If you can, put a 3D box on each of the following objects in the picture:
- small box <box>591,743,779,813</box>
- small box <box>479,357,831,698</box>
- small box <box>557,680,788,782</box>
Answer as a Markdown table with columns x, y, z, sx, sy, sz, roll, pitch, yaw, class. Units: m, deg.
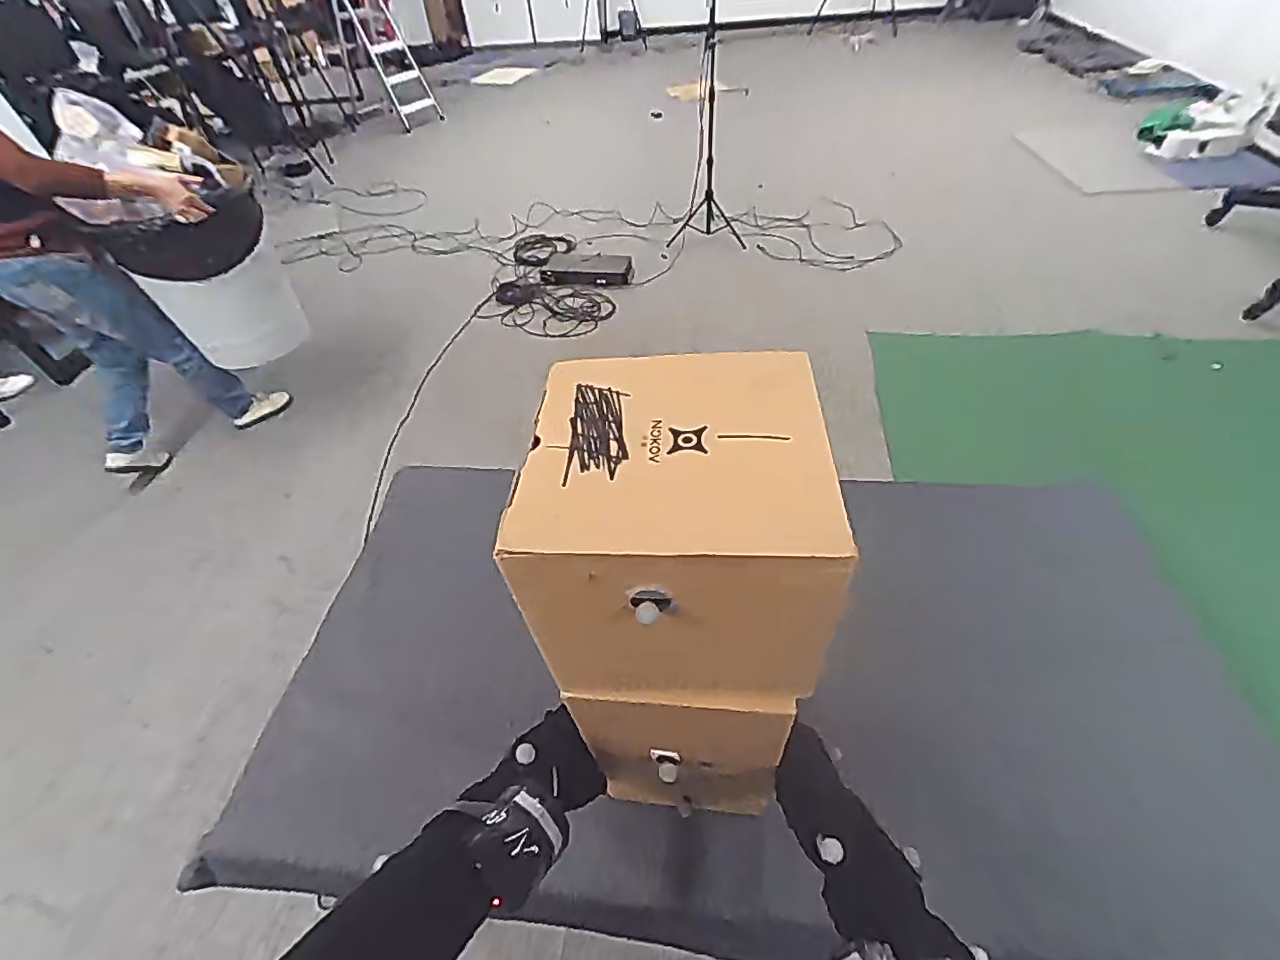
| x | y | z | sx | sy | sz | roll | pitch | yaw | class |
| --- | --- | --- | --- | --- | --- | --- | --- | --- | --- |
| 0.055 | 0.258 | 0.607 | 0.179 | 0.176 | 0.168 | 2 | 47 | 8 | small box |
| 0.020 | 0.035 | 0.370 | 0.179 | 0.176 | 0.168 | 0 | 47 | 8 | small box |
| 0.038 | 0.148 | 0.488 | 0.168 | 0.176 | 0.179 | 0 | 49 | 9 | small box |
